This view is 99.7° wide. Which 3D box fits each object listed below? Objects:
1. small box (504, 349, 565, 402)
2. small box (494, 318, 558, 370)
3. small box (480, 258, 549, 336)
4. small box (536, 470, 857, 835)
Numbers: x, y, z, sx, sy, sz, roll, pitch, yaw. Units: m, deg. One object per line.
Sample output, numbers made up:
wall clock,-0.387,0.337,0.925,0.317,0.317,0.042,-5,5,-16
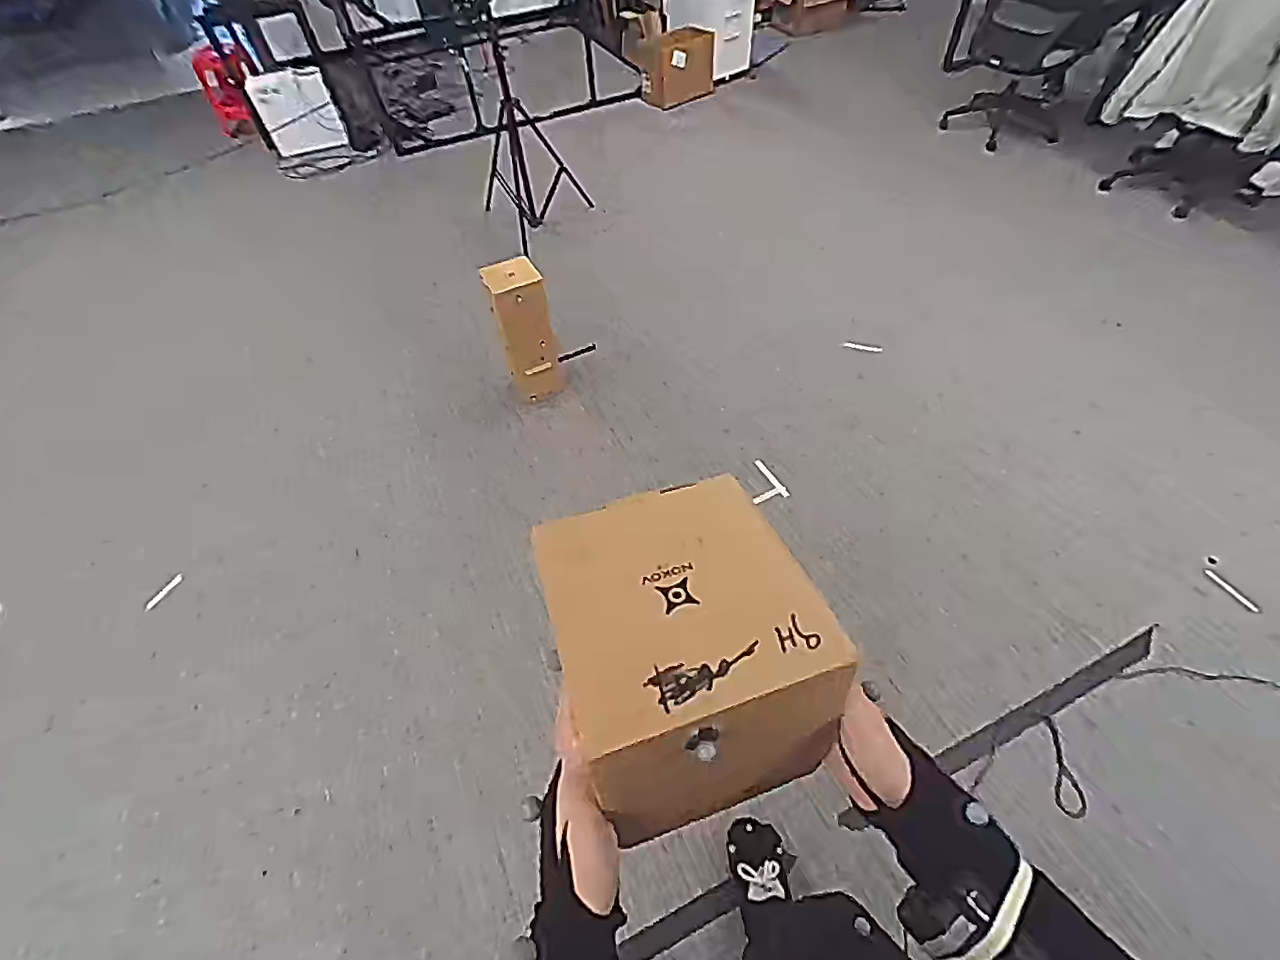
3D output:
small box,-0.409,-0.429,2.116,0.168,0.176,0.179,-24,55,-13
small box,-0.417,-0.526,1.987,0.168,0.176,0.179,-24,54,-15
small box,-0.423,-0.626,1.859,0.179,0.176,0.168,-25,56,-15
small box,0.029,0.124,0.408,0.168,0.176,0.179,-16,43,-10
